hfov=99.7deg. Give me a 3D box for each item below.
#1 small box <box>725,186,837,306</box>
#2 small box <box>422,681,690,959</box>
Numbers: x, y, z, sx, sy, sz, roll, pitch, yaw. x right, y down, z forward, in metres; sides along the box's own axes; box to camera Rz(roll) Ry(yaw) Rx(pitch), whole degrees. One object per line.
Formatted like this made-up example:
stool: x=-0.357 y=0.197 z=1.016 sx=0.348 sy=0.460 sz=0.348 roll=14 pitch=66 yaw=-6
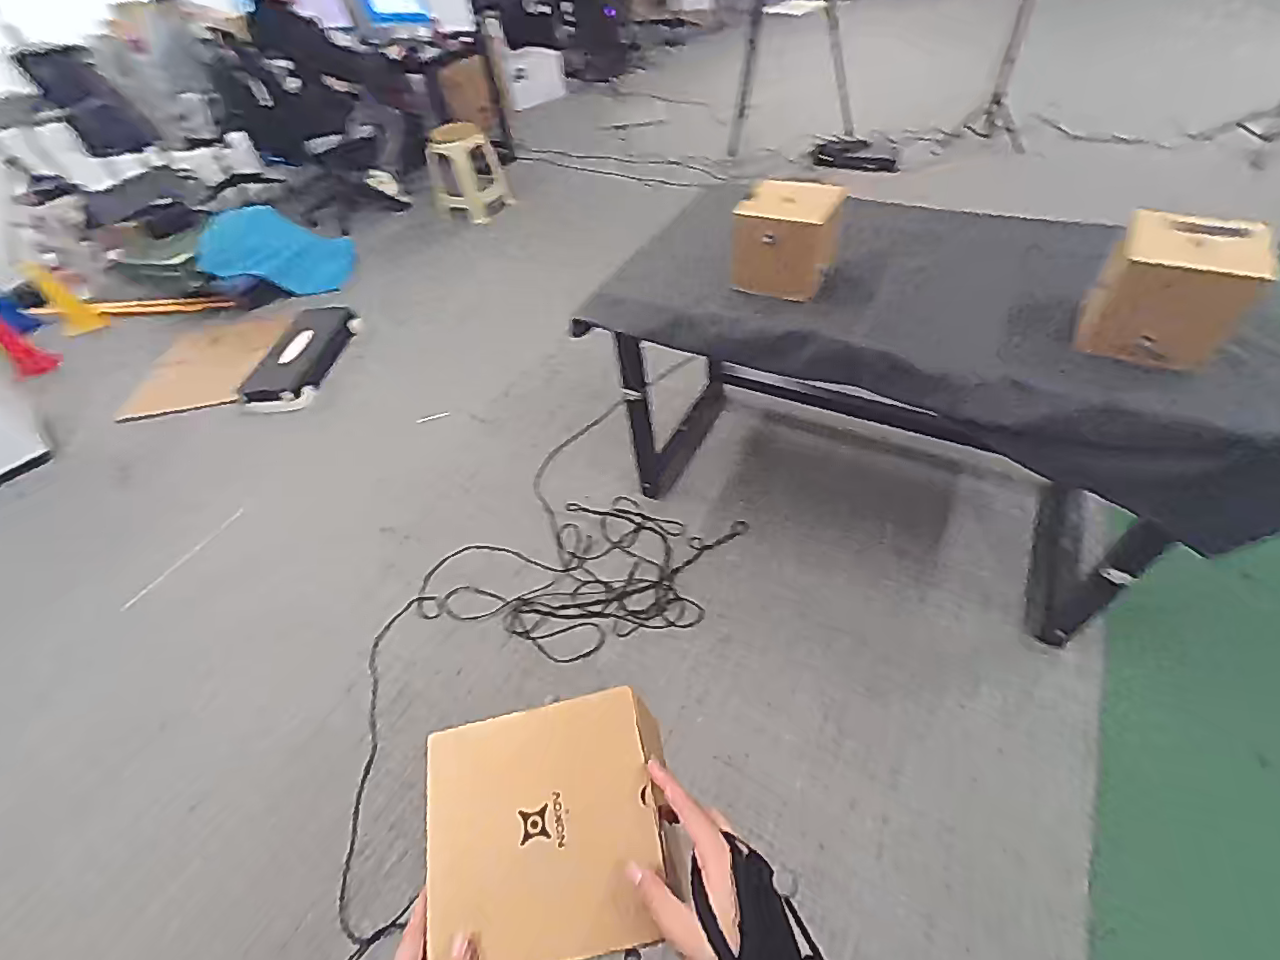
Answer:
small box: x=0.286 y=-0.484 z=1.123 sx=0.179 sy=0.176 sz=0.168 roll=21 pitch=55 yaw=23
small box: x=-0.061 y=0.291 z=0.462 sx=0.179 sy=0.176 sz=0.168 roll=-12 pitch=56 yaw=-1
